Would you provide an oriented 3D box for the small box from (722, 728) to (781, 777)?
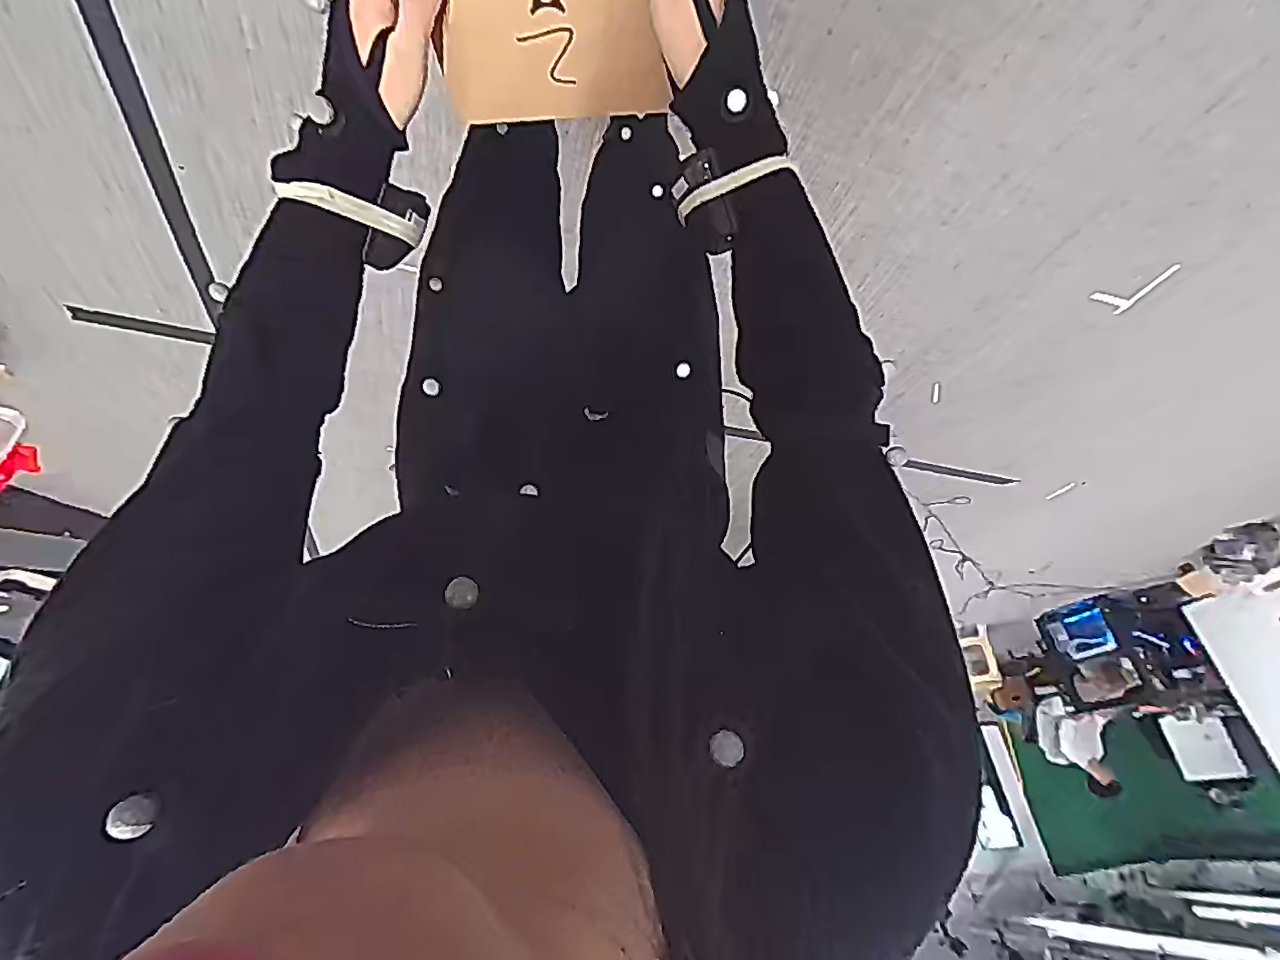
[{"bbox_3d":[0.464,1.147,2.279,0.179,0.176,0.168,9,145,-18],"label":"small box"}]
